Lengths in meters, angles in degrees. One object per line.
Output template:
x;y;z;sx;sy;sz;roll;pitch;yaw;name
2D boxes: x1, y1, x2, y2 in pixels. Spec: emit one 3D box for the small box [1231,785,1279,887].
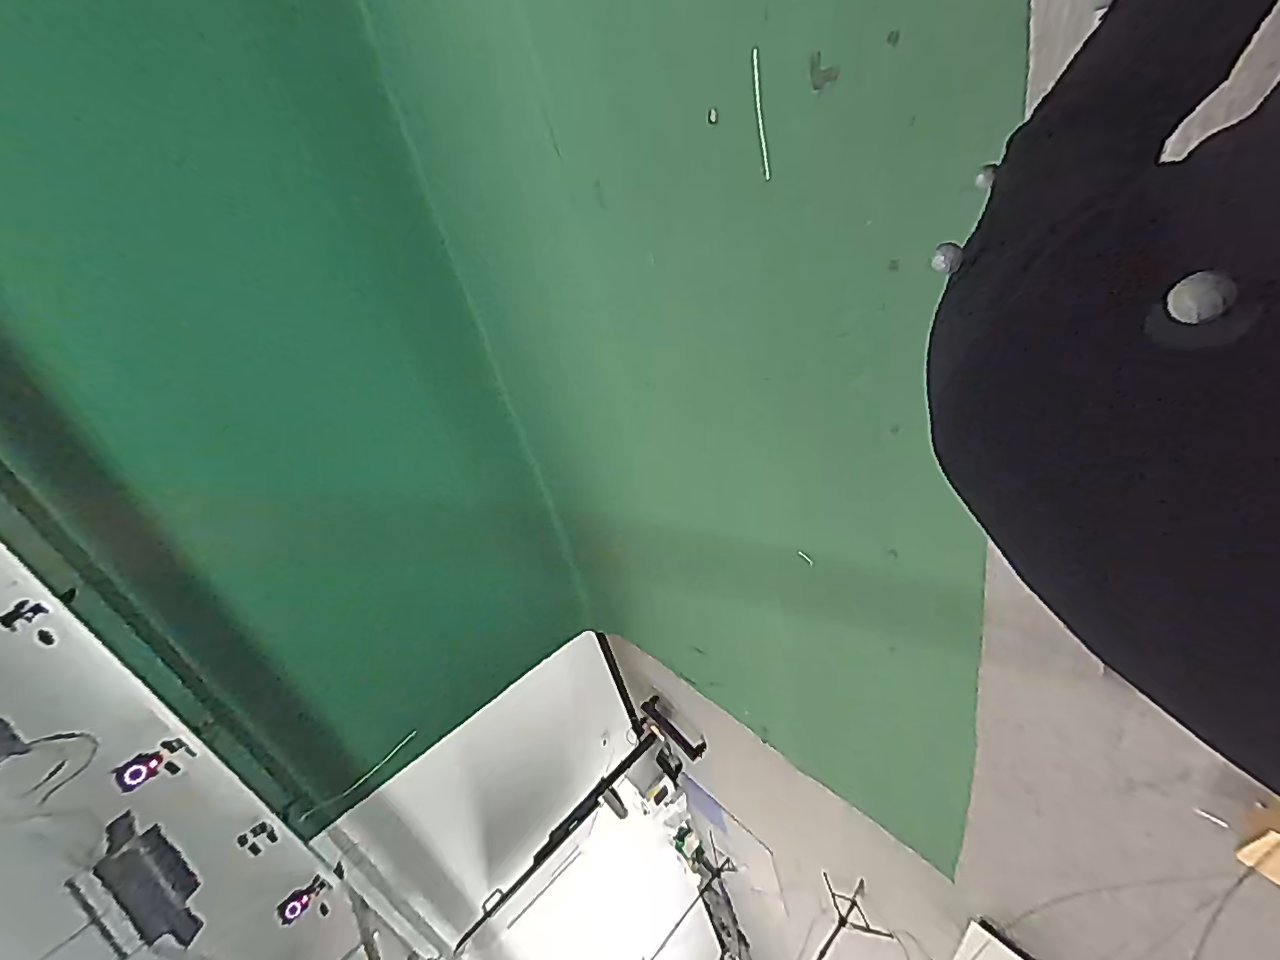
1.613;0.889;1.307;0.179;0.176;0.168;34;143;38;small box
